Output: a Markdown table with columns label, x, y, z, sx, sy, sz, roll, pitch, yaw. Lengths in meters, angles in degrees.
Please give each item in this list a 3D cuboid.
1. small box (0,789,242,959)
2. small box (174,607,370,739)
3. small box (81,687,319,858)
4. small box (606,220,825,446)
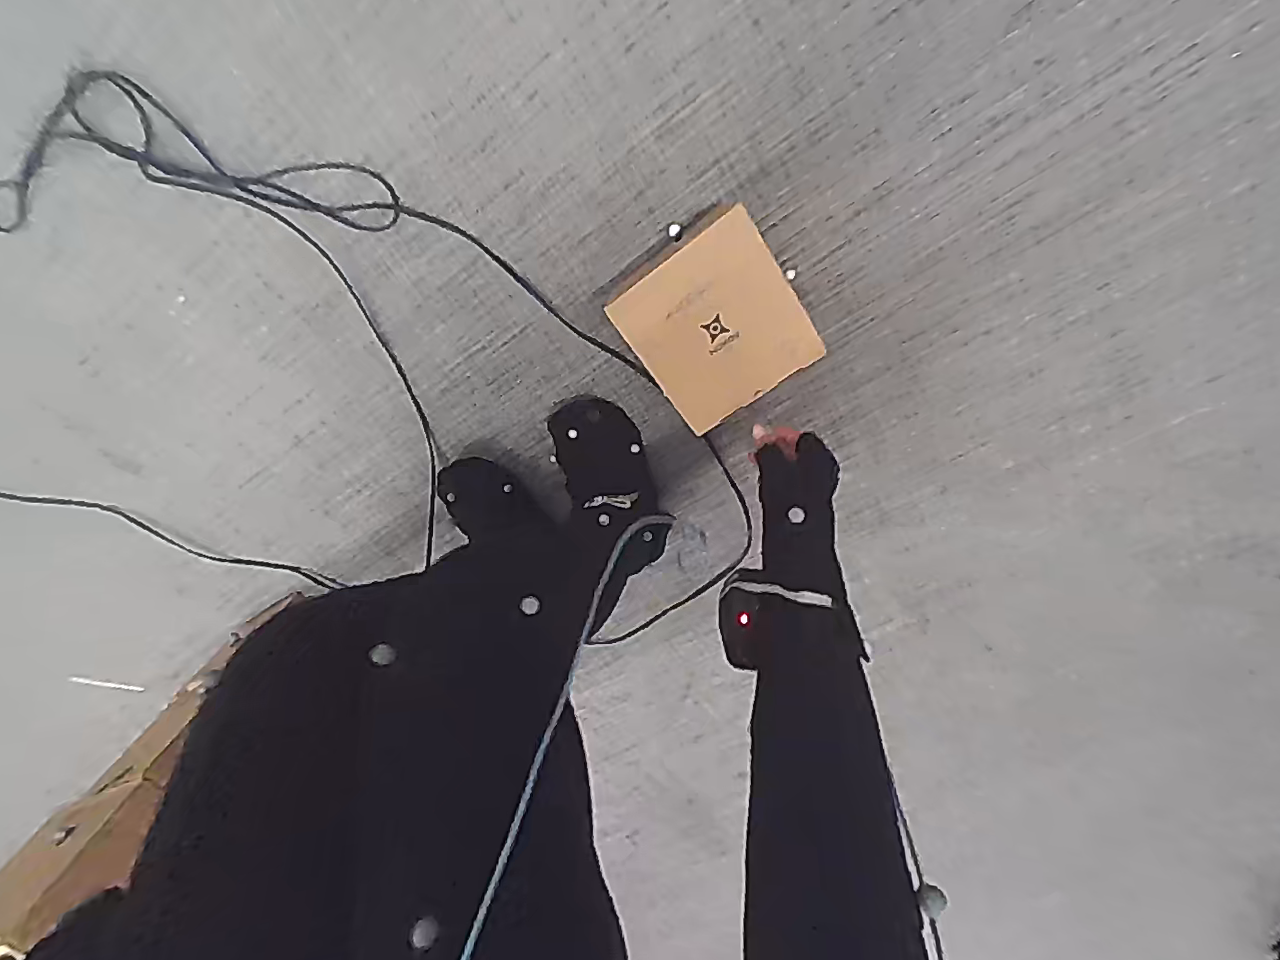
| label | x | y | z | sx | sy | sz | roll | pitch | yaw |
| --- | --- | --- | --- | --- | --- | --- | --- | --- | --- |
| small box | -0.632 | 0.503 | 0.635 | 0.168 | 0.176 | 0.179 | -23 | 114 | 14 |
| small box | -0.611 | 0.342 | 0.921 | 0.168 | 0.176 | 0.179 | -30 | 111 | 20 |
| small box | -0.619 | 0.425 | 0.776 | 0.168 | 0.176 | 0.179 | -28 | 114 | 16 |
| small box | 0.082 | -0.175 | 0.622 | 0.168 | 0.176 | 0.179 | -32 | 112 | 17 |
